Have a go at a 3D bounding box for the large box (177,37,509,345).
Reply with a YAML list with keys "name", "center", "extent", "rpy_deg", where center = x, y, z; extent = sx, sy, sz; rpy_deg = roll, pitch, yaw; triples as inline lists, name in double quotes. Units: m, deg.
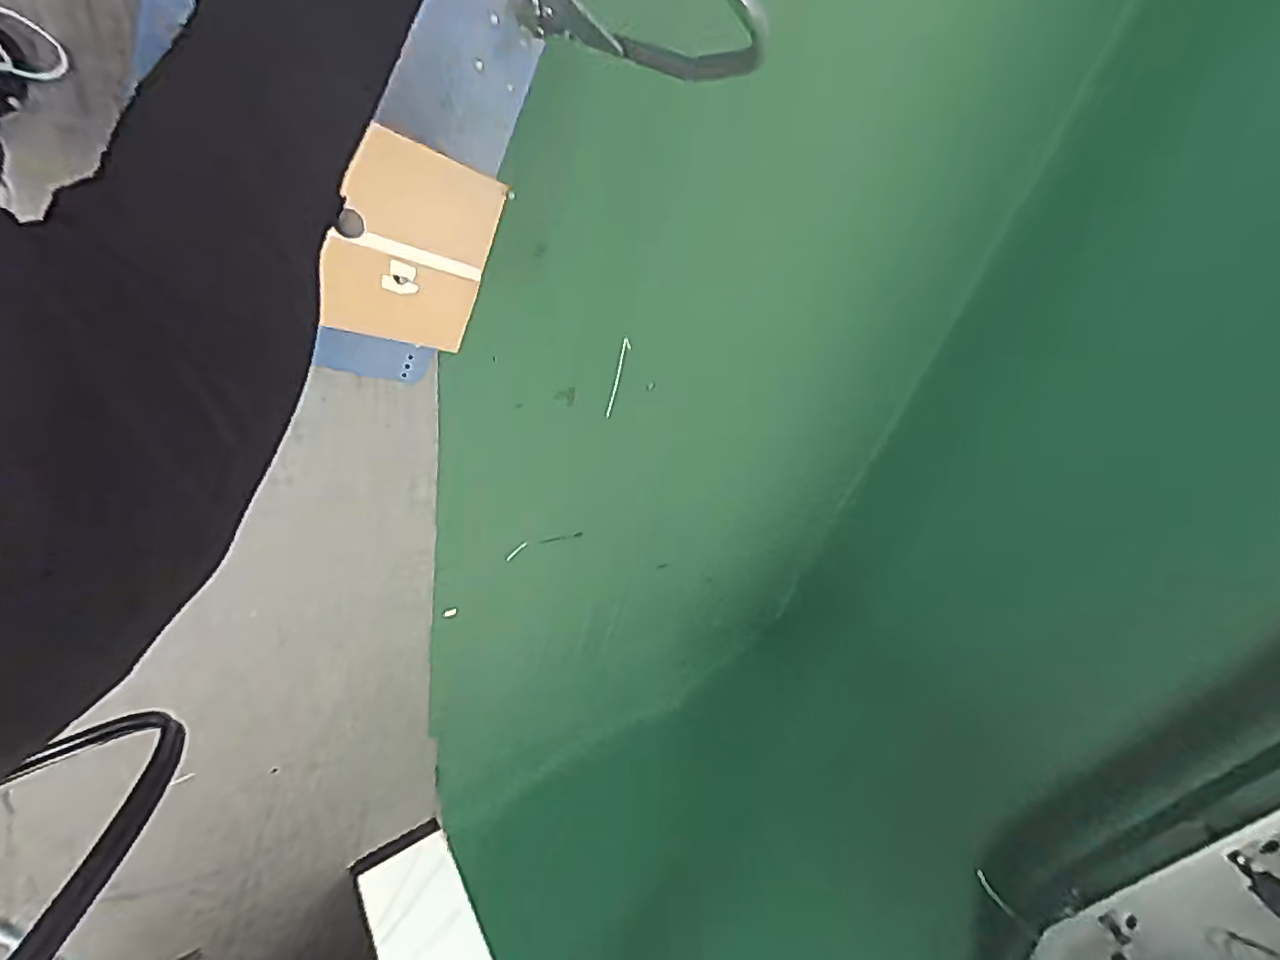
- name: "large box"
  center: [-0.509, -0.464, 0.921]
  extent: [0.408, 0.320, 0.320]
  rpy_deg: [0, 125, -46]
